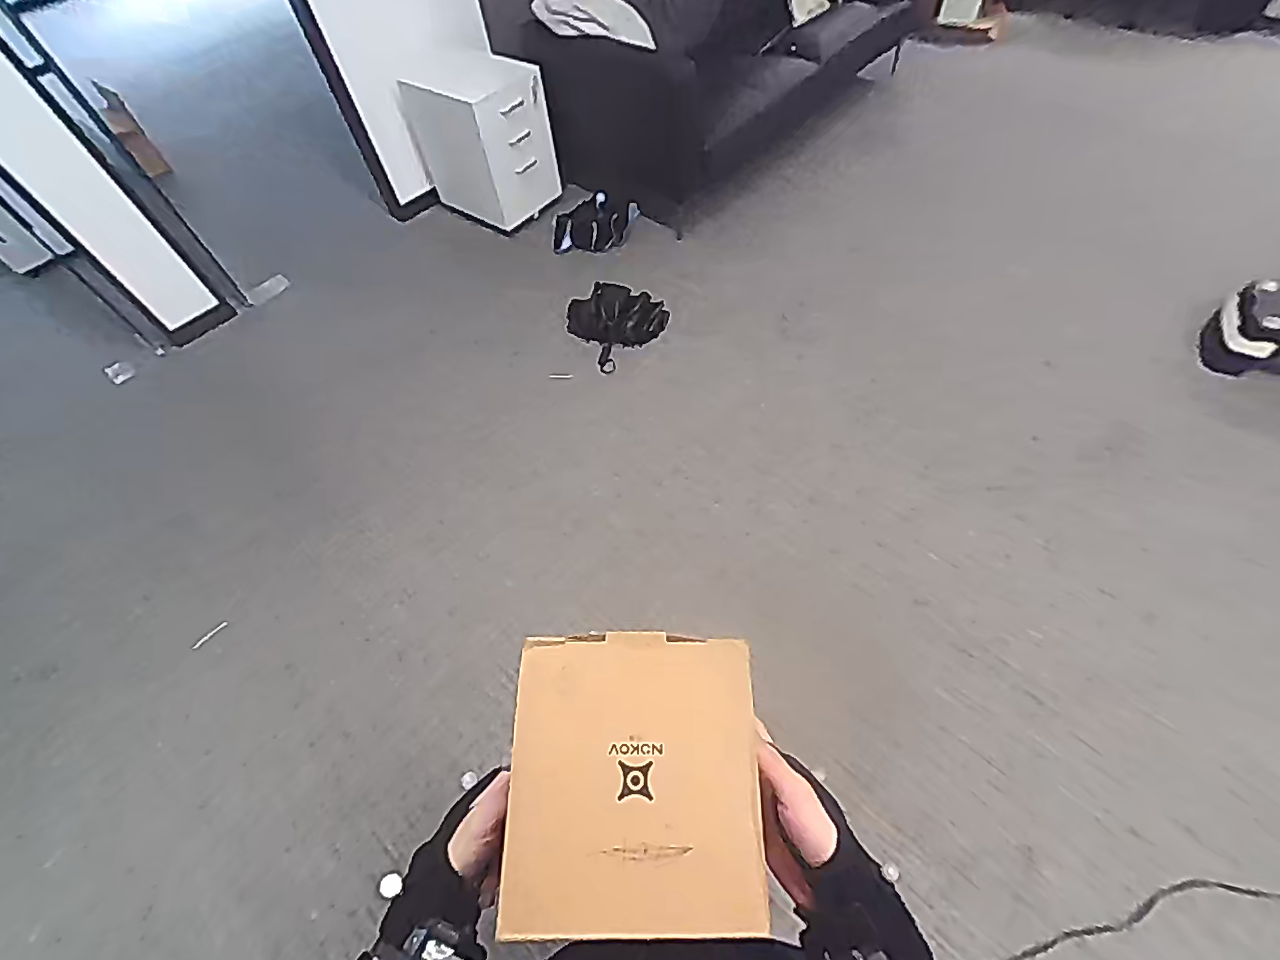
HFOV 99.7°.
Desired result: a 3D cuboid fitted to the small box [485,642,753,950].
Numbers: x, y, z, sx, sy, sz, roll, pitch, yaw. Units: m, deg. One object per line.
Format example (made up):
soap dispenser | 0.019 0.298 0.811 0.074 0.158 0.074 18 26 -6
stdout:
small box | -0.013 0.232 0.431 0.168 0.176 0.179 2 67 -1
